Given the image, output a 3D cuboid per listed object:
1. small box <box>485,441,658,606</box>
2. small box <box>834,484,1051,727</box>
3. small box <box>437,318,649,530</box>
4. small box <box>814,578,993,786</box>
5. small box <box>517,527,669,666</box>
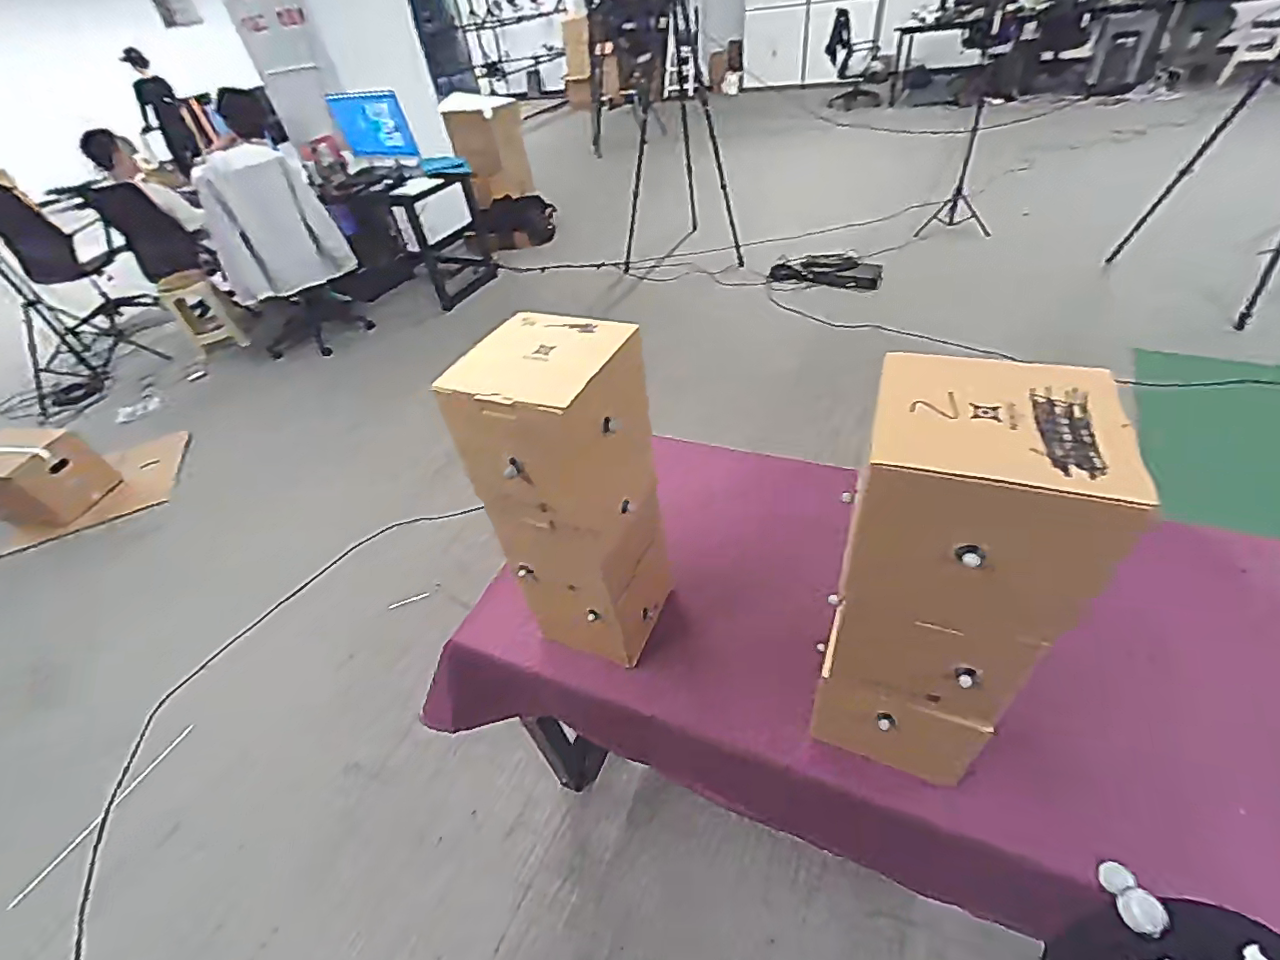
[{"bbox_3d":[-0.081,0.048,0.757,0.168,0.176,0.179,13,45,21],"label":"small box"},{"bbox_3d":[0.317,0.135,0.591,0.168,0.176,0.179,12,45,21],"label":"small box"},{"bbox_3d":[-0.096,-0.068,0.640,0.168,0.176,0.179,14,47,21],"label":"small box"},{"bbox_3d":[0.332,0.259,0.697,0.179,0.176,0.168,14,47,23],"label":"small box"},{"bbox_3d":[-0.065,0.169,0.866,0.179,0.176,0.168,13,46,21],"label":"small box"}]
